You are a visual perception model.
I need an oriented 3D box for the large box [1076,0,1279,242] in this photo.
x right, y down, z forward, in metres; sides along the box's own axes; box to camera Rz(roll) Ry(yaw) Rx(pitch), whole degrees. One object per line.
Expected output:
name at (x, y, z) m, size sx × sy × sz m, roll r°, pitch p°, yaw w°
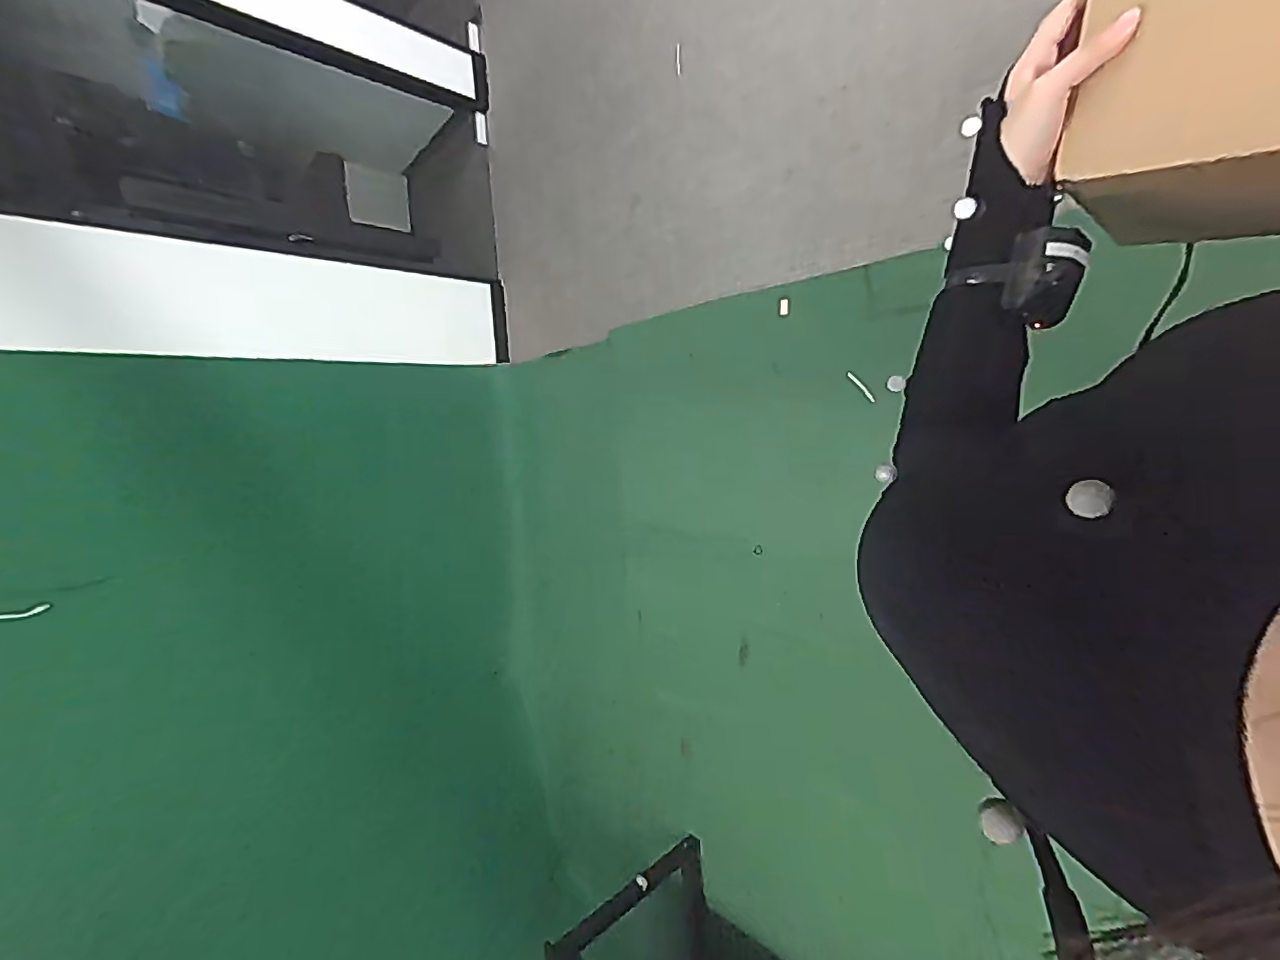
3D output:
large box at (0.566, -0.357, 0.329) m, size 0.408 × 0.320 × 0.320 m, roll 15°, pitch 109°, yaw 44°
